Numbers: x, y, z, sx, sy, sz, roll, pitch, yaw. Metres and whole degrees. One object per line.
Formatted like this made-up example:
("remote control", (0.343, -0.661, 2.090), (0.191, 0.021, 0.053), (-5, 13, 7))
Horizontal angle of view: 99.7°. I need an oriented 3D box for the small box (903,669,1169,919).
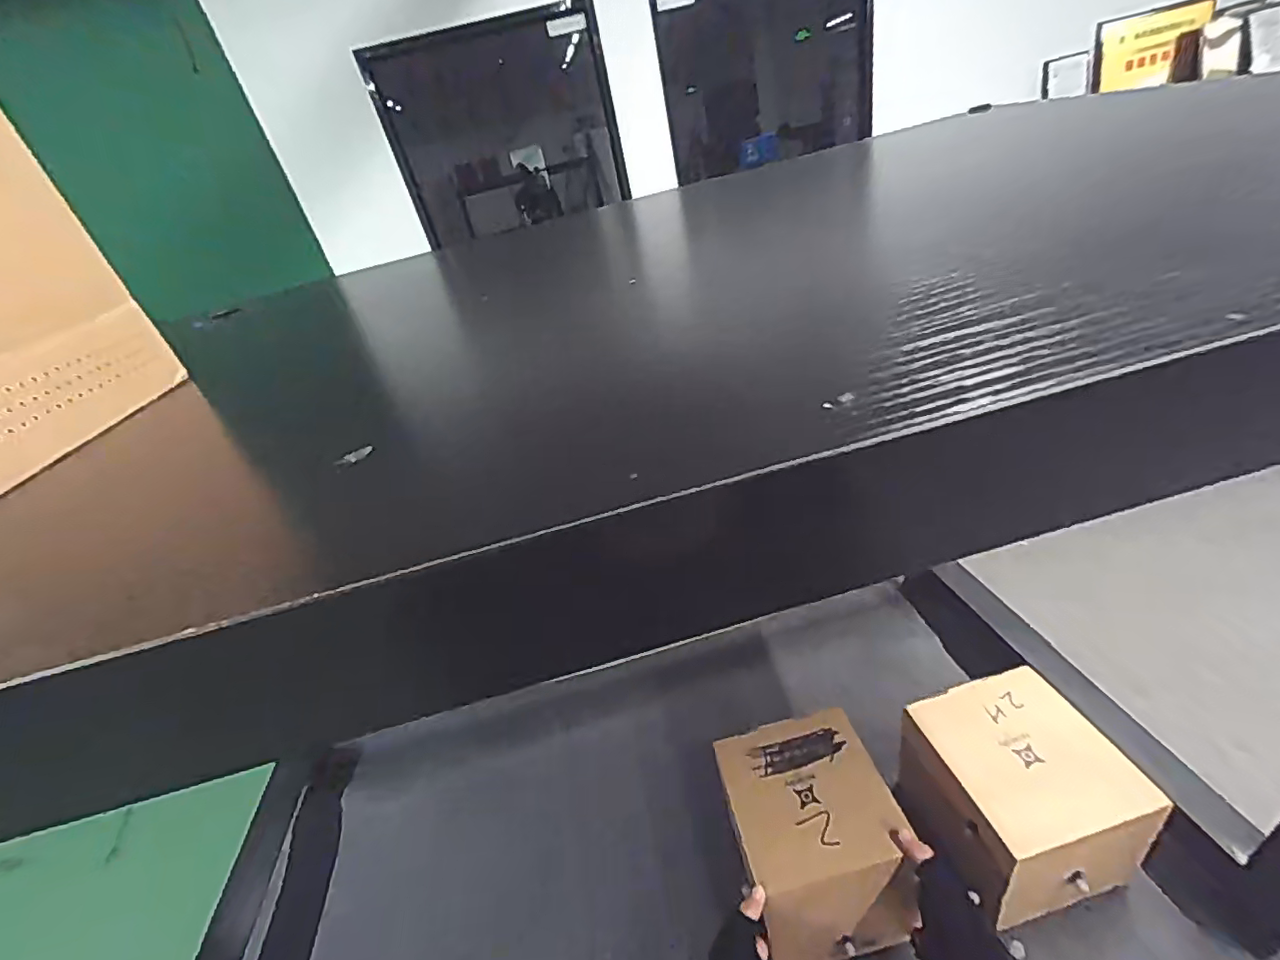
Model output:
("small box", (0.429, 0.361, 0.622), (0.168, 0.176, 0.179), (-17, 30, -4))
